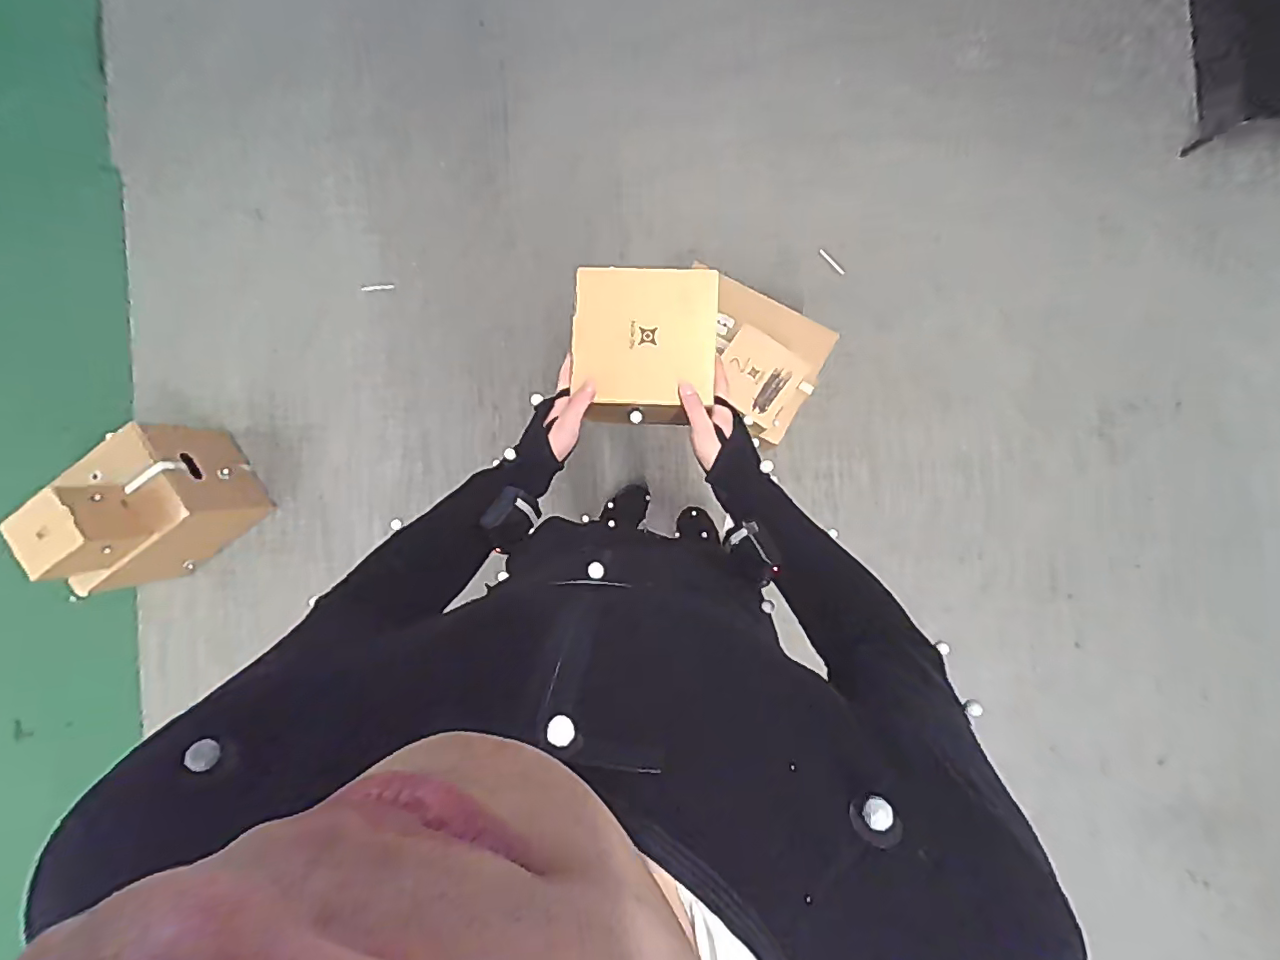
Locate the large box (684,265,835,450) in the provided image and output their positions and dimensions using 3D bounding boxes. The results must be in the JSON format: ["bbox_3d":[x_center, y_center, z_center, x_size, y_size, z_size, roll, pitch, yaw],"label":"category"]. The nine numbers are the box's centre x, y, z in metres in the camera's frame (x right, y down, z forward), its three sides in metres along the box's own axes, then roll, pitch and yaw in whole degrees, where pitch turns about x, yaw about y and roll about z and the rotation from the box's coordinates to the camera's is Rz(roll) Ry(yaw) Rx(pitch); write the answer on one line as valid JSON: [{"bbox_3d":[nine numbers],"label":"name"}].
[{"bbox_3d":[0.245,-0.308,1.472,0.408,0.320,0.320,29,91,5],"label":"large box"}]

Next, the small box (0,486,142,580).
[{"bbox_3d":[-1.427,0.124,1.369,0.179,0.176,0.168,-35,88,5],"label":"small box"}]

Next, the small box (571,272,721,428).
[{"bbox_3d":[0.011,-0.163,0.725,0.179,0.176,0.168,2,88,4],"label":"small box"}]
